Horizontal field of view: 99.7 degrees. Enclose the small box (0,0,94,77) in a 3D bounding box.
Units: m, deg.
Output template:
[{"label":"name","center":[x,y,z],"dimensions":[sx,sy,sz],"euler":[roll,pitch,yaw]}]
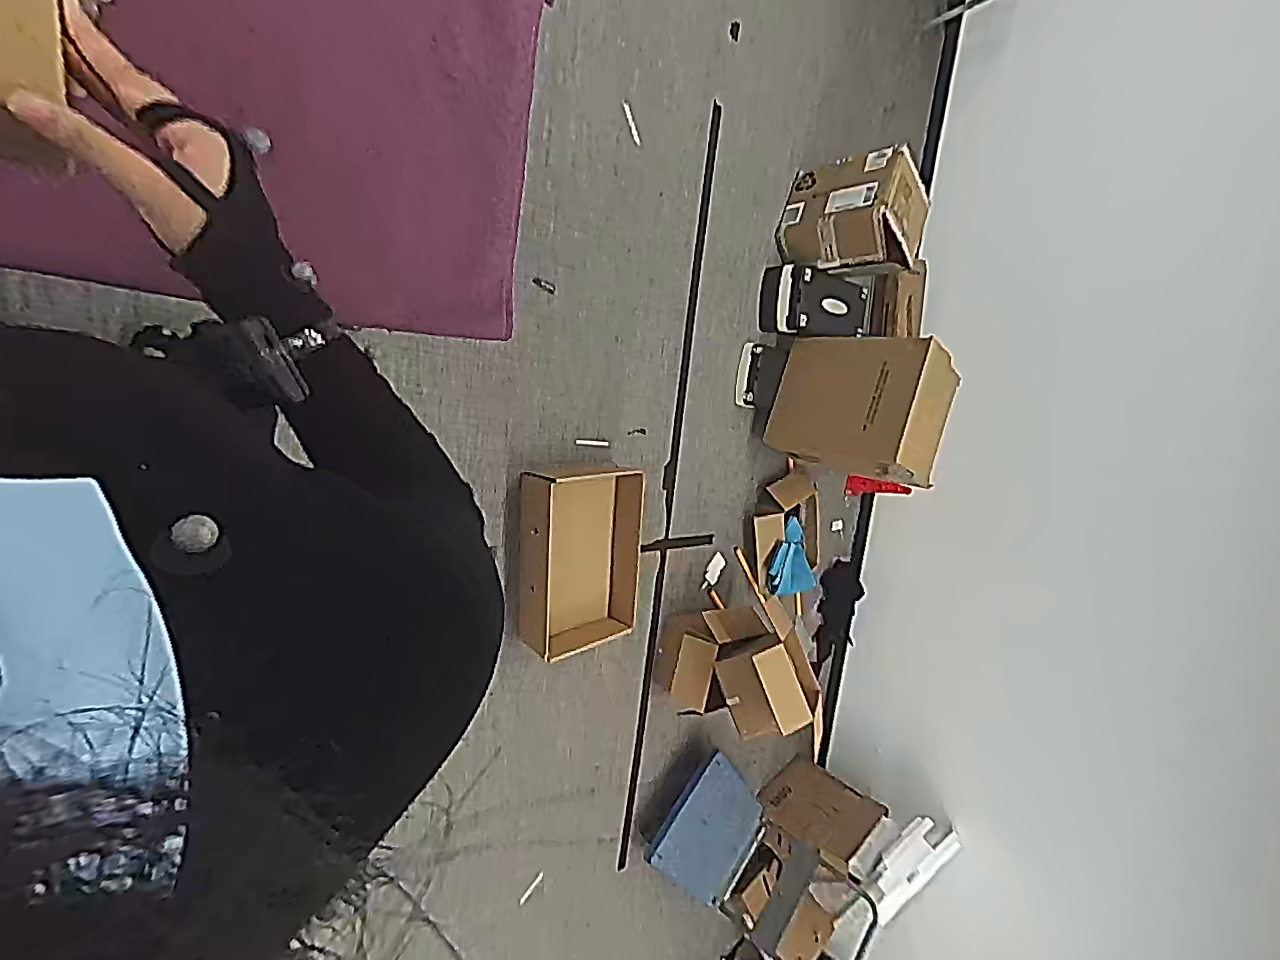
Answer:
[{"label":"small box","center":[-0.523,-0.437,0.394],"dimensions":[0.179,0.176,0.168],"euler":[0,100,-44]}]
